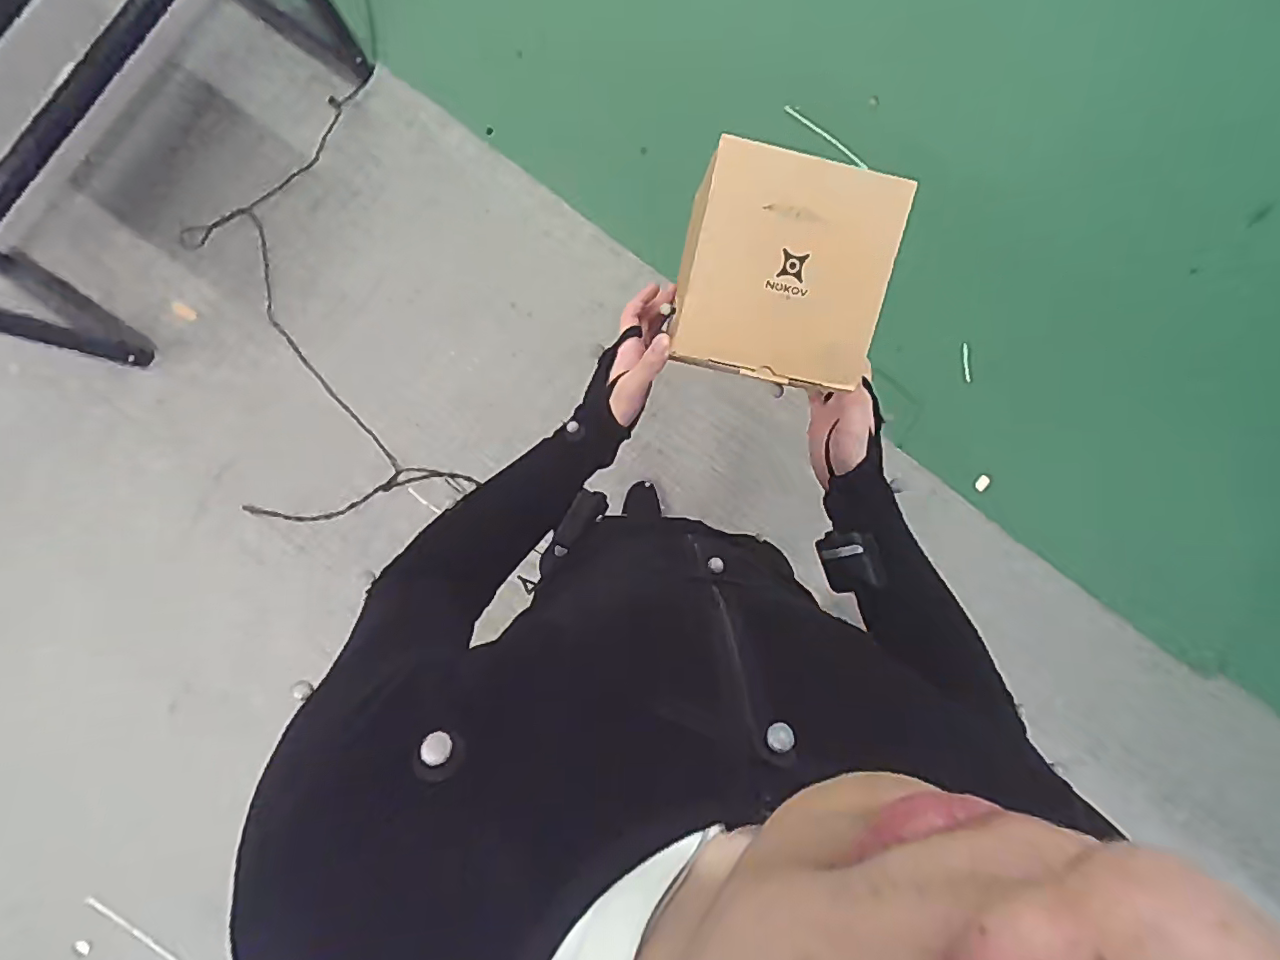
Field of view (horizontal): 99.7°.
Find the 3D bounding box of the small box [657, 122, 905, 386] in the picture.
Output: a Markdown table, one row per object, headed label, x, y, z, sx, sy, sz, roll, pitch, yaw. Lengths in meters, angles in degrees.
| label | x | y | z | sx | sy | sz | roll | pitch | yaw |
| --- | --- | --- | --- | --- | --- | --- | --- | --- | --- |
| small box | 0.113 | -0.196 | 0.519 | 0.168 | 0.176 | 0.179 | 12 | 101 | -4 |
